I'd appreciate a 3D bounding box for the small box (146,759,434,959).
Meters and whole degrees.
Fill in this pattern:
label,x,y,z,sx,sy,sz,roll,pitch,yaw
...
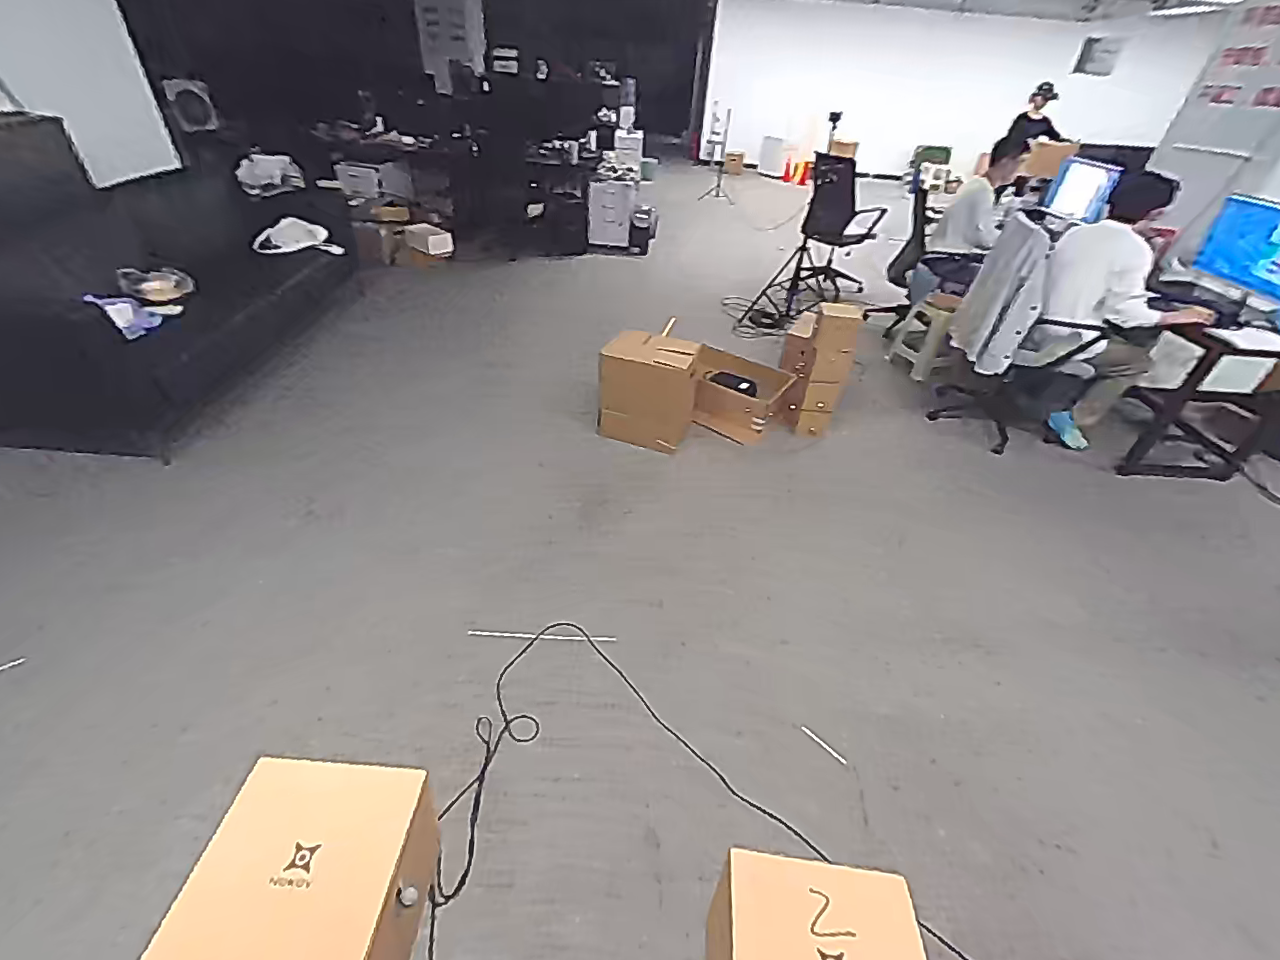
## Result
label,x,y,z,sx,sy,sz,roll,pitch,yaw
small box,-0.310,0.405,0.525,0.168,0.176,0.179,6,36,-3
